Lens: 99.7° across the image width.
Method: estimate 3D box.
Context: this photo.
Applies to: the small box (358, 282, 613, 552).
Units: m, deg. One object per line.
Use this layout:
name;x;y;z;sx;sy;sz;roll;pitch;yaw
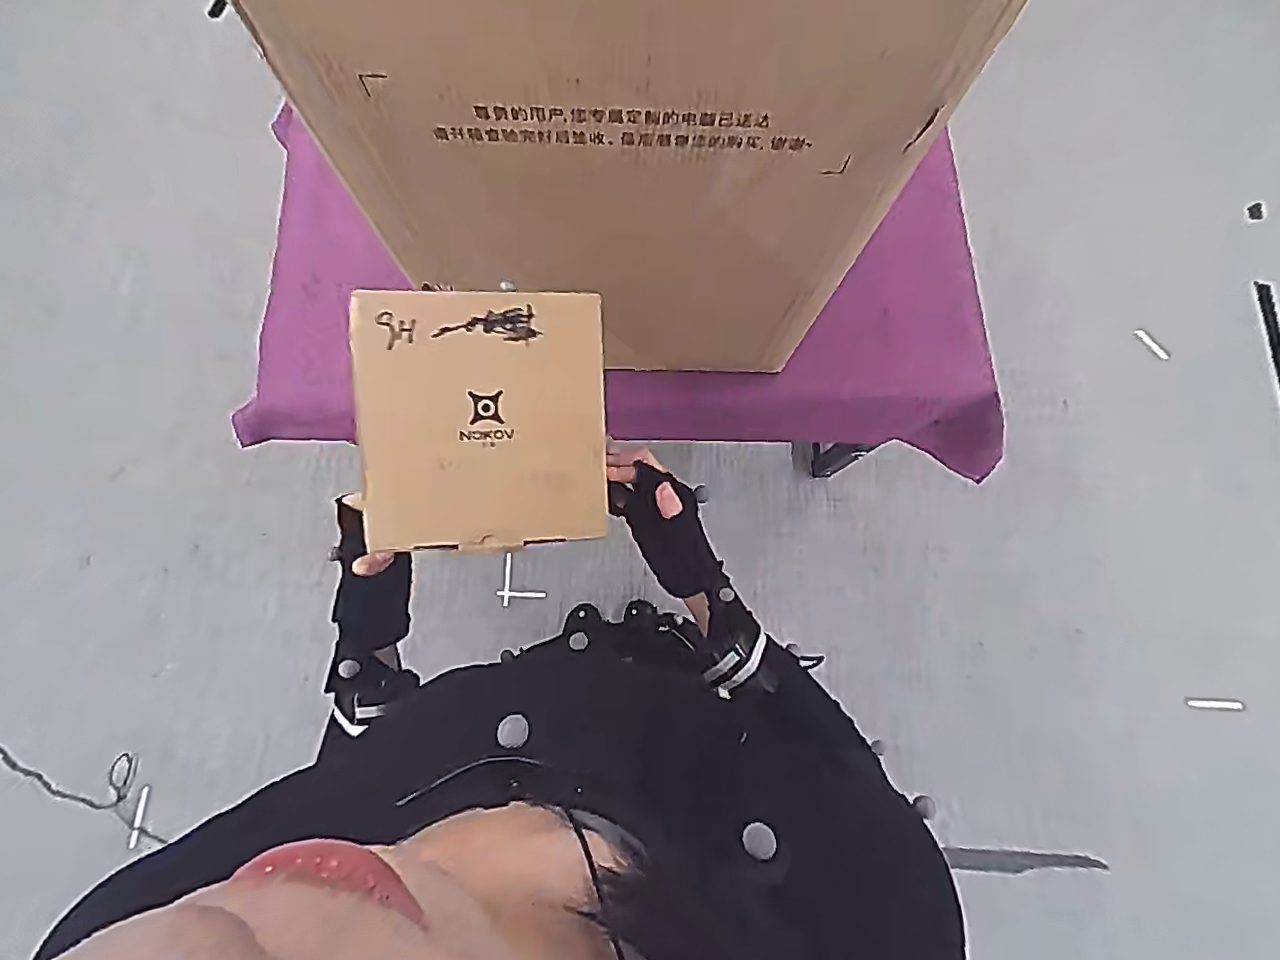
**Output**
small box;-0.113;-0.046;0.440;0.168;0.176;0.179;-1;93;-11
